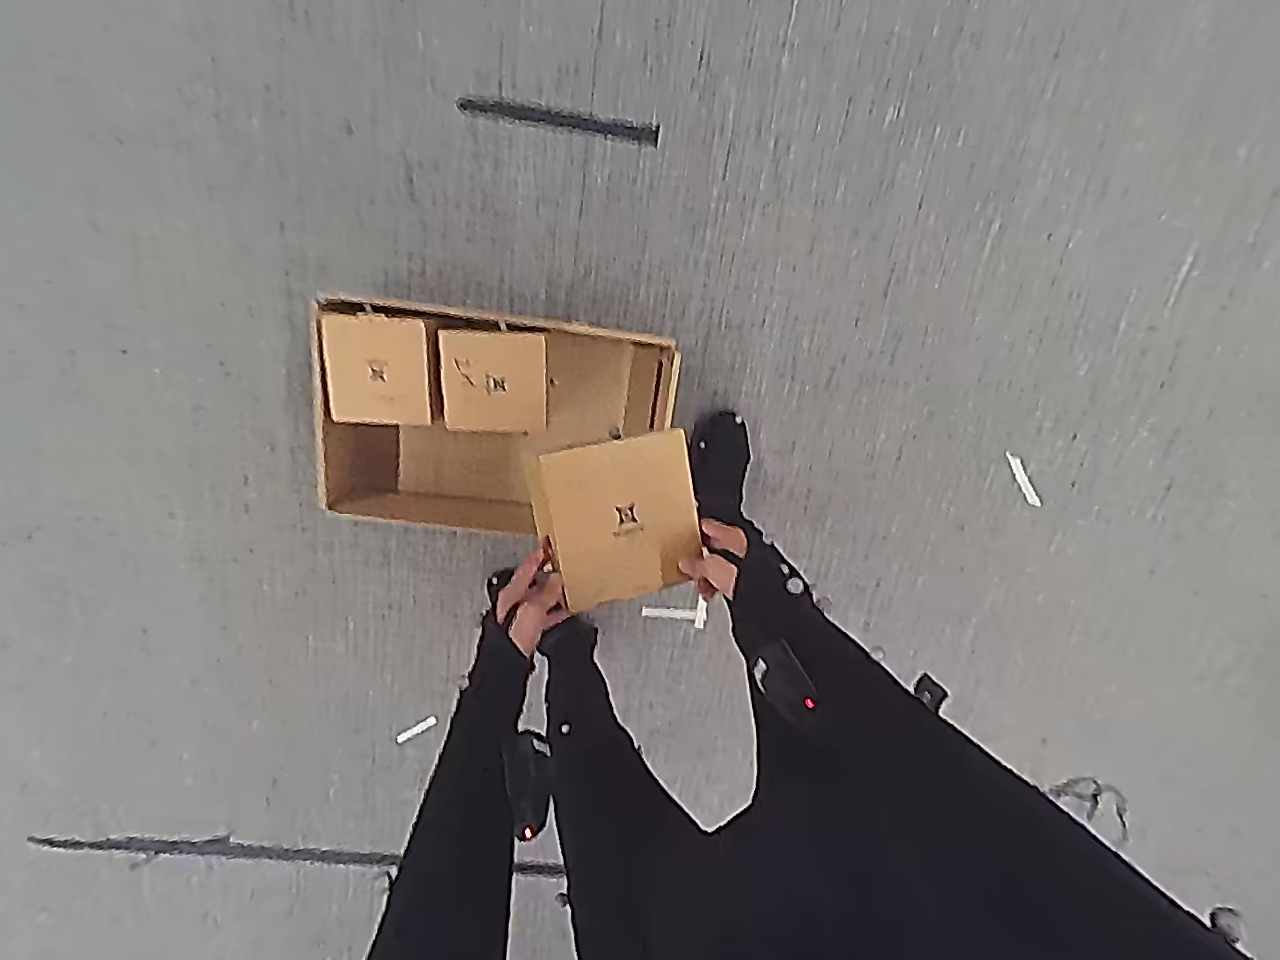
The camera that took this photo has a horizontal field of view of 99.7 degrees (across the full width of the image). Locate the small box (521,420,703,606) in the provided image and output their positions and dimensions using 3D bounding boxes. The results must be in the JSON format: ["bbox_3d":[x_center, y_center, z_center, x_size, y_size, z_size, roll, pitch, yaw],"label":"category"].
[{"bbox_3d":[-0.043,0.029,0.661,0.168,0.176,0.179,-13,99,-16],"label":"small box"}]

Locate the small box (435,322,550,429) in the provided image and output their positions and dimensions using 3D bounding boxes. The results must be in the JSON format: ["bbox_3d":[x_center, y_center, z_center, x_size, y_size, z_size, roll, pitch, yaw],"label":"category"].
[{"bbox_3d":[-0.254,-0.193,0.972,0.179,0.176,0.168,1,109,-5],"label":"small box"}]
